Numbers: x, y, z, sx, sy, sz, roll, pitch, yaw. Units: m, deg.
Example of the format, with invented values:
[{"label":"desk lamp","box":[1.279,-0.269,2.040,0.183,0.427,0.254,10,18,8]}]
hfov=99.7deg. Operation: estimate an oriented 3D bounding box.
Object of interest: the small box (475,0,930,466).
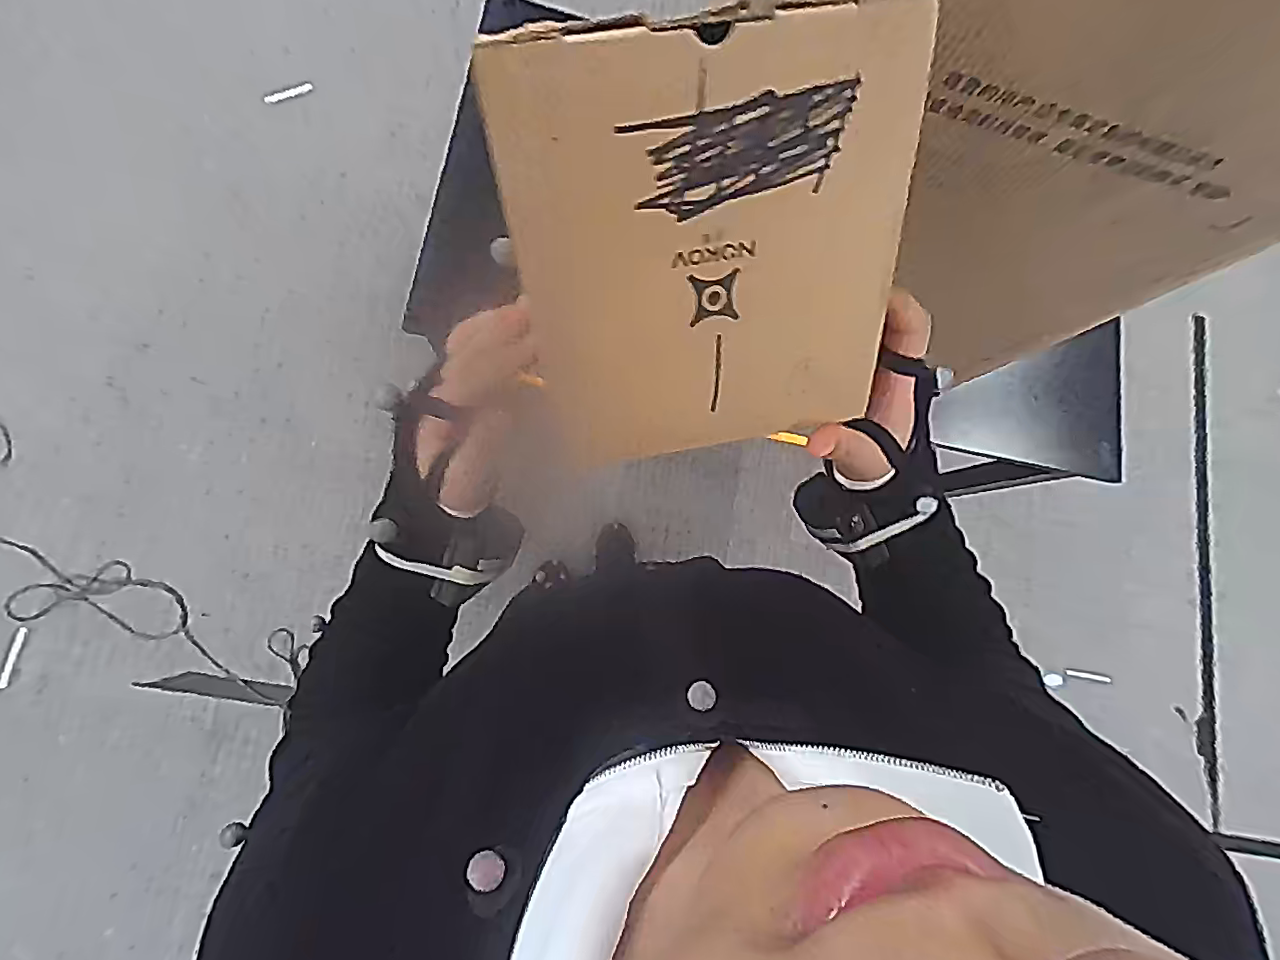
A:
[{"label":"small box","box":[0.018,-0.137,0.296,0.168,0.176,0.179,-11,128,-4]}]
